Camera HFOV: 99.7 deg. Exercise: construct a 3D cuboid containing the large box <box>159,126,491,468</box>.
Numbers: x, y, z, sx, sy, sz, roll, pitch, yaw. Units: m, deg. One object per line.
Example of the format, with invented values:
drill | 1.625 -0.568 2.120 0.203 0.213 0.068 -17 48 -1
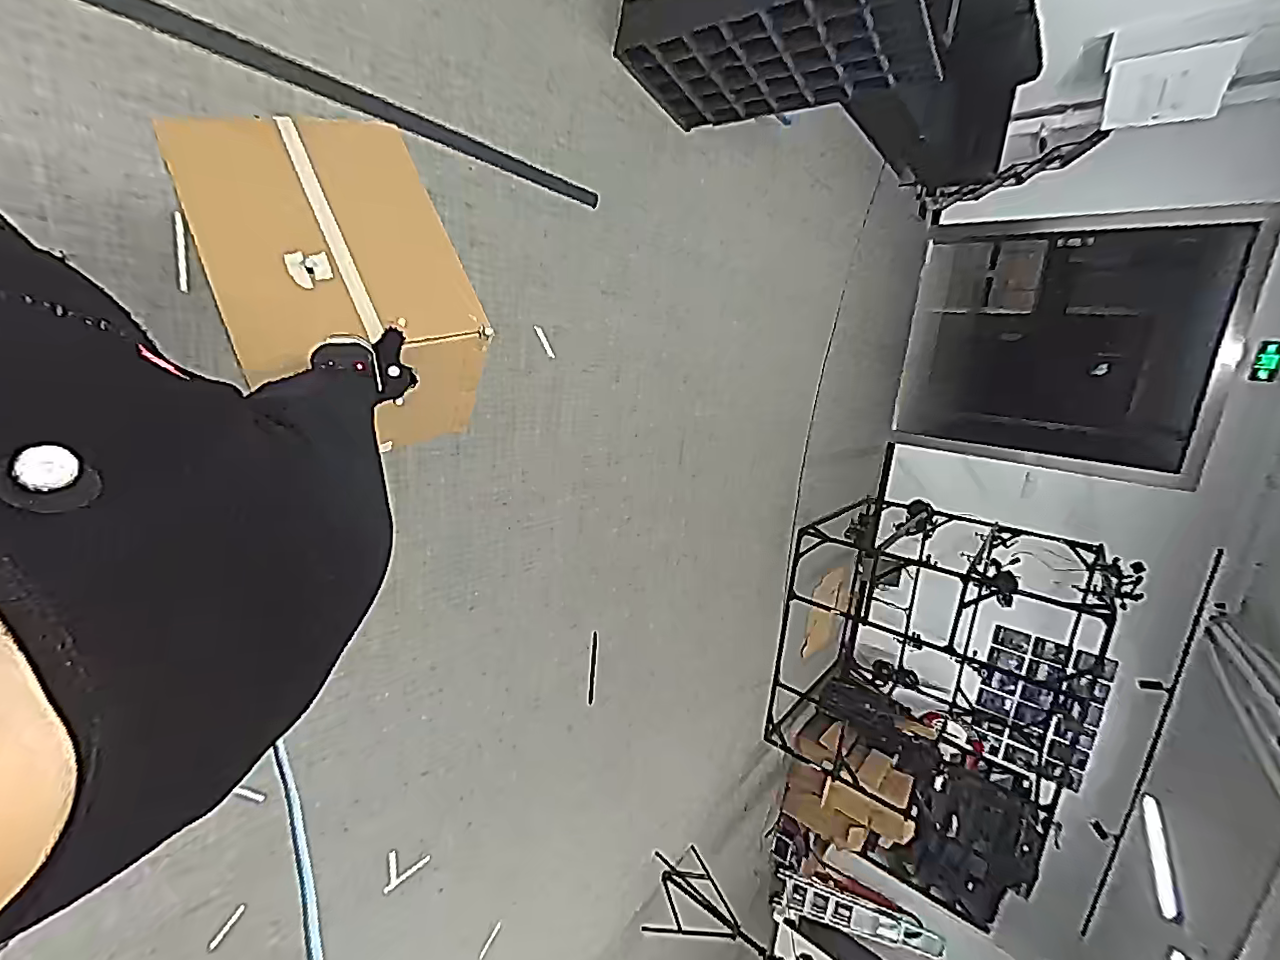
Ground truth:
large box | -0.493 -0.289 0.891 0.320 0.320 0.408 -21 79 -30
